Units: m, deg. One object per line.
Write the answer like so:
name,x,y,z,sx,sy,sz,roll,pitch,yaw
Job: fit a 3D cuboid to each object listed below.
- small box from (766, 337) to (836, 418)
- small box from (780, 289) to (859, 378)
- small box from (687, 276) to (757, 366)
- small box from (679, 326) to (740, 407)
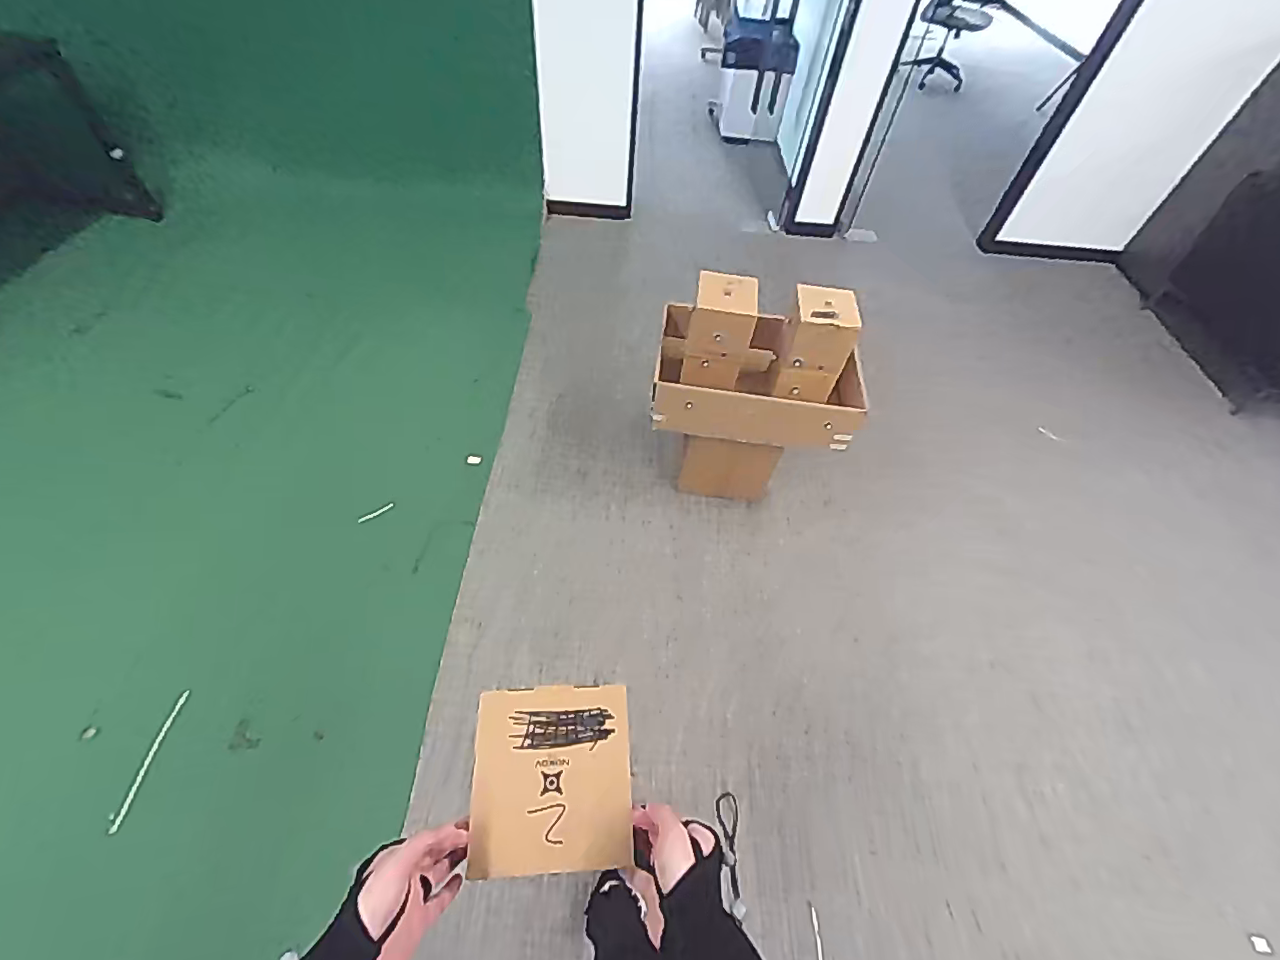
small box,0.492,-0.312,1.671,0.168,0.176,0.179,8,52,1
small box,0.505,-0.413,1.541,0.168,0.176,0.179,8,52,0
small box,0.231,-0.448,1.541,0.168,0.176,0.179,9,53,1
small box,0.217,-0.355,1.676,0.168,0.176,0.179,9,52,3
